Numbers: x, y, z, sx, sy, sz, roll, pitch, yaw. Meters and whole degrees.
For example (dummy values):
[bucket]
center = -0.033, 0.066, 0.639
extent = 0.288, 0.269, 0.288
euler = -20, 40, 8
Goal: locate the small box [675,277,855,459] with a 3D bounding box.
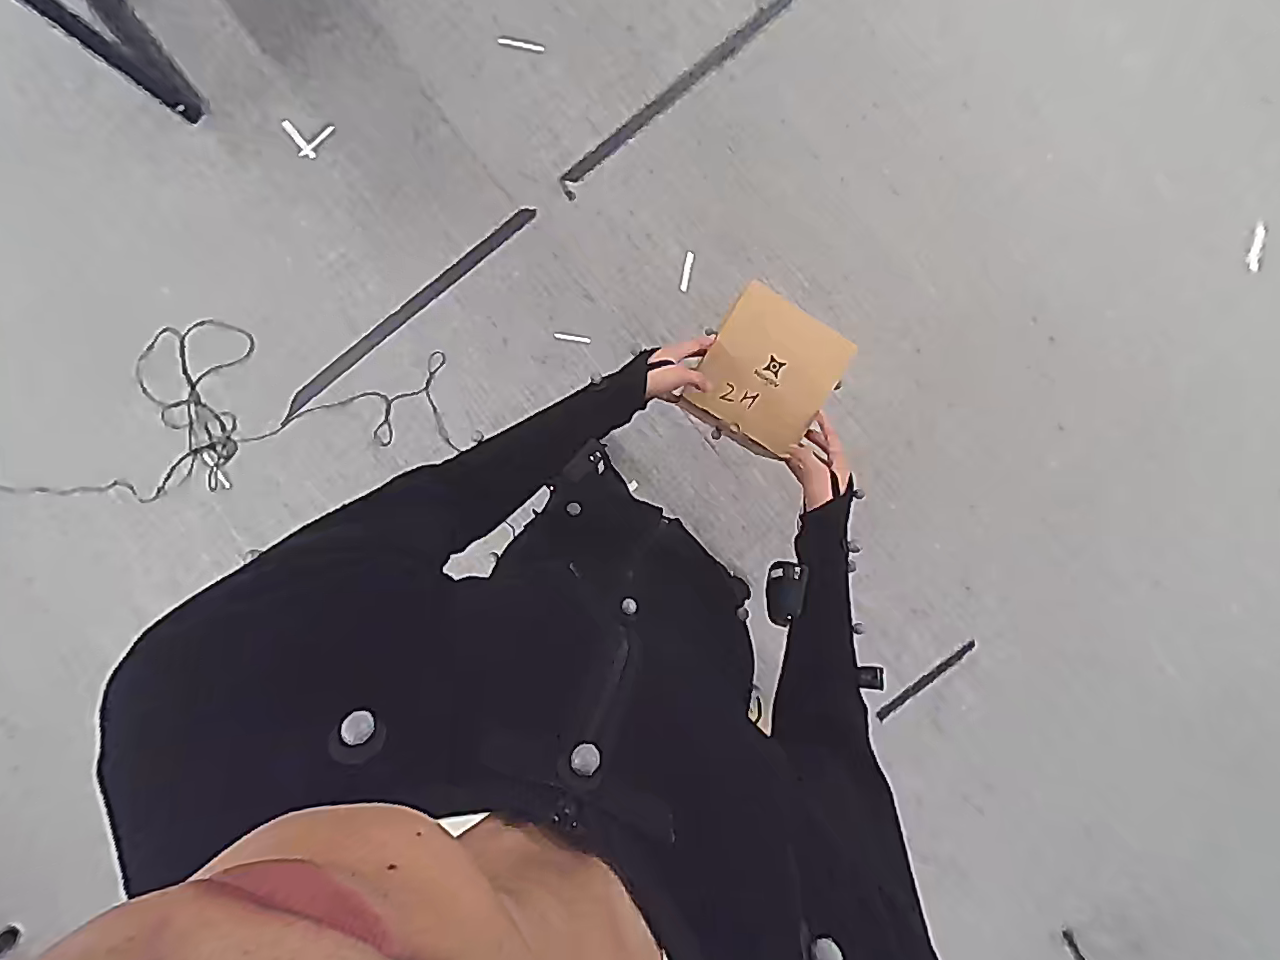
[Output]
[small box]
center = 0.160, -0.149, 0.764
extent = 0.168, 0.176, 0.179
euler = 30, 95, -3
